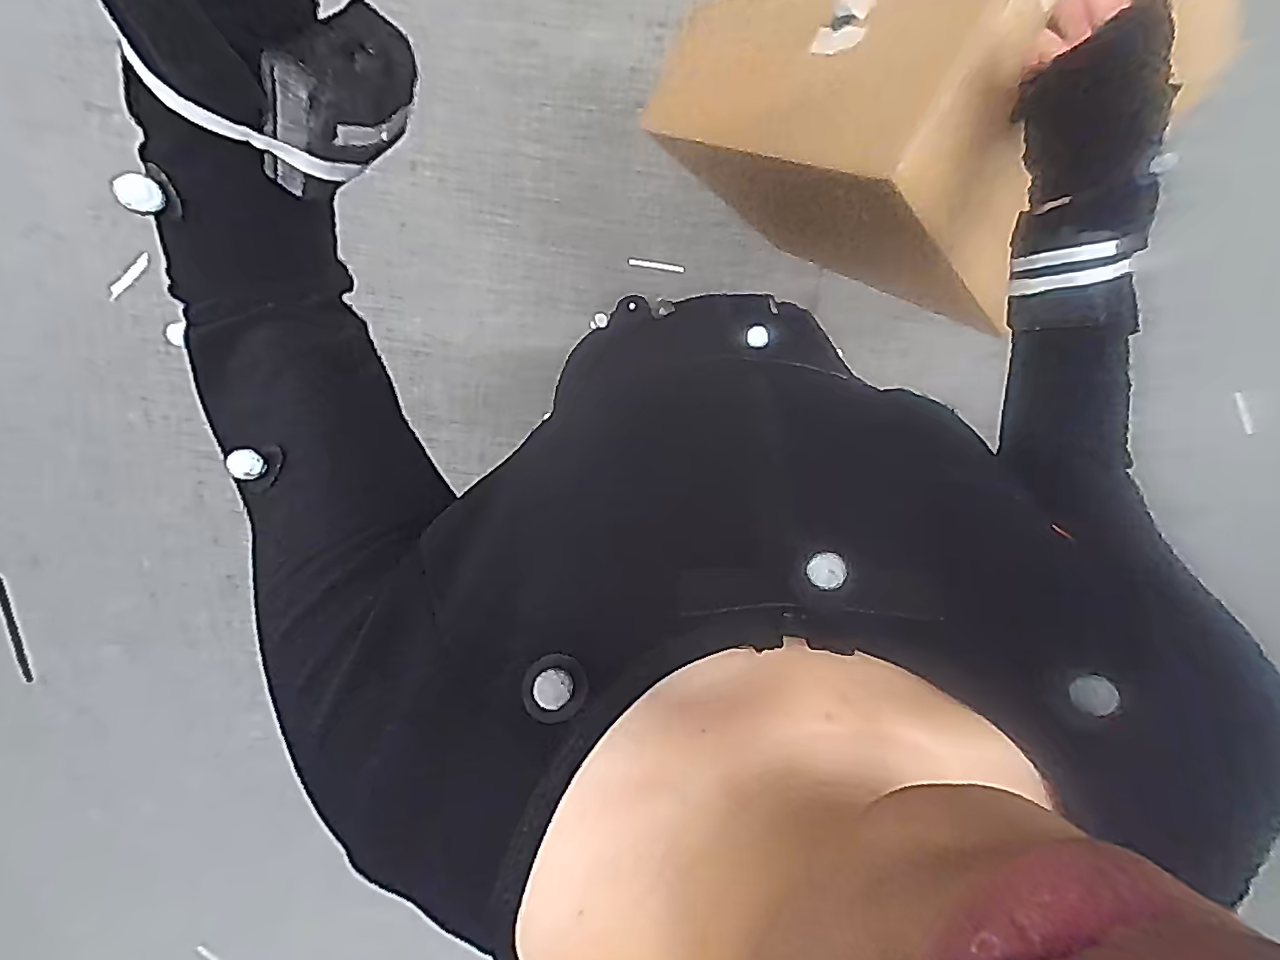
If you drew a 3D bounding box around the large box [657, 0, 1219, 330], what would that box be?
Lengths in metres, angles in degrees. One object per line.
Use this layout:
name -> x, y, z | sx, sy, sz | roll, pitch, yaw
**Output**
large box -> 0.295, -0.430, 0.613 | 0.320, 0.408, 0.320 | 18, 114, -40
